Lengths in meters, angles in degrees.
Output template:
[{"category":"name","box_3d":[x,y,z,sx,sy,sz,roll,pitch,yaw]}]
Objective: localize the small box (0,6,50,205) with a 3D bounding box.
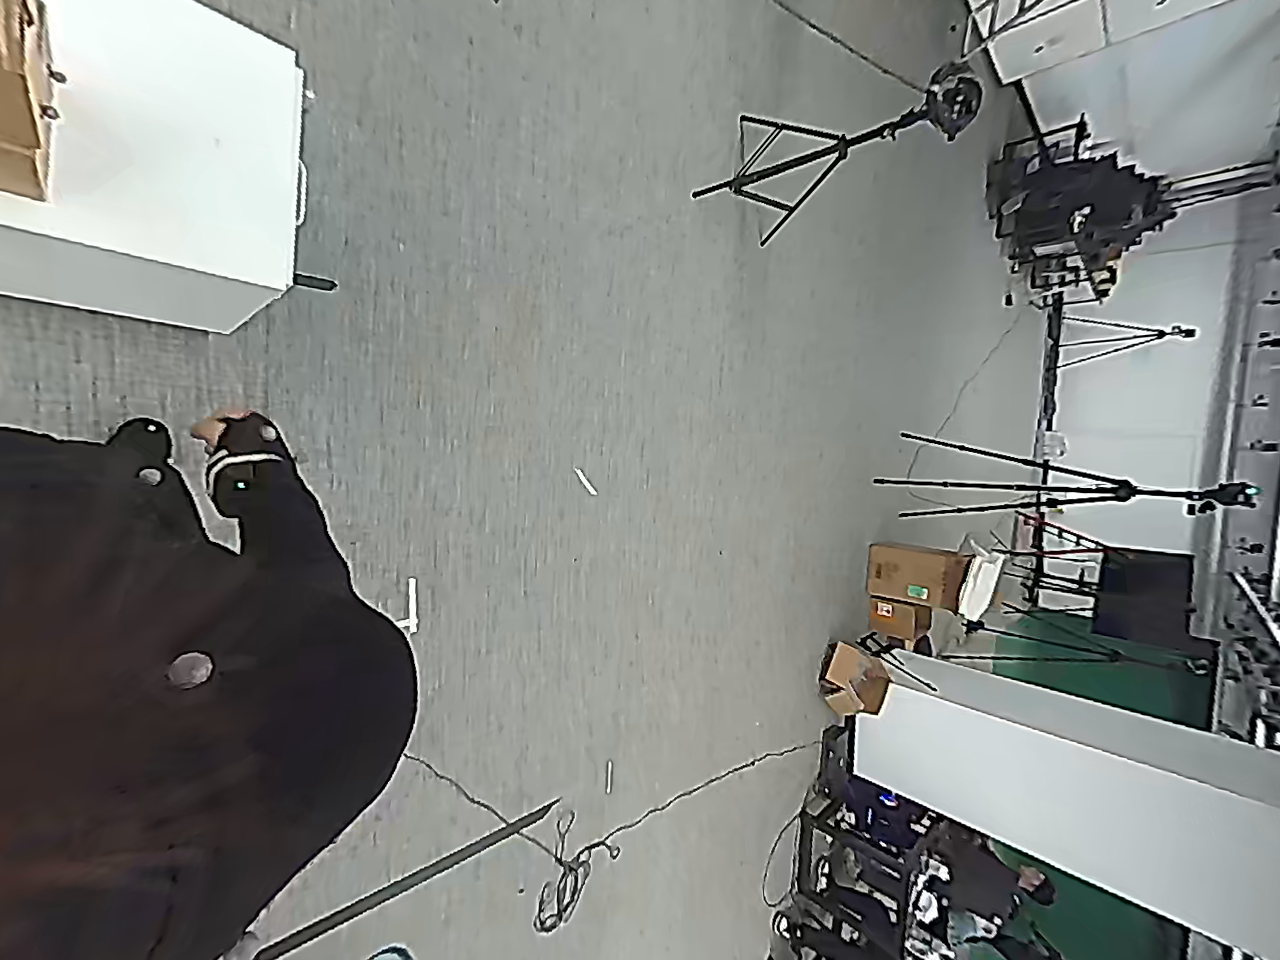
[{"category":"small box","box_3d":[-0.778,-0.441,0.594,0.168,0.176,0.179,3,91,-45]}]

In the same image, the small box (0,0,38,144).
[{"category":"small box","box_3d":[-0.665,-0.432,0.475,0.179,0.176,0.168,-3,94,-44]}]

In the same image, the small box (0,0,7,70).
[{"category":"small box","box_3d":[-0.553,-0.430,0.354,0.168,0.176,0.179,-2,94,-44]}]
